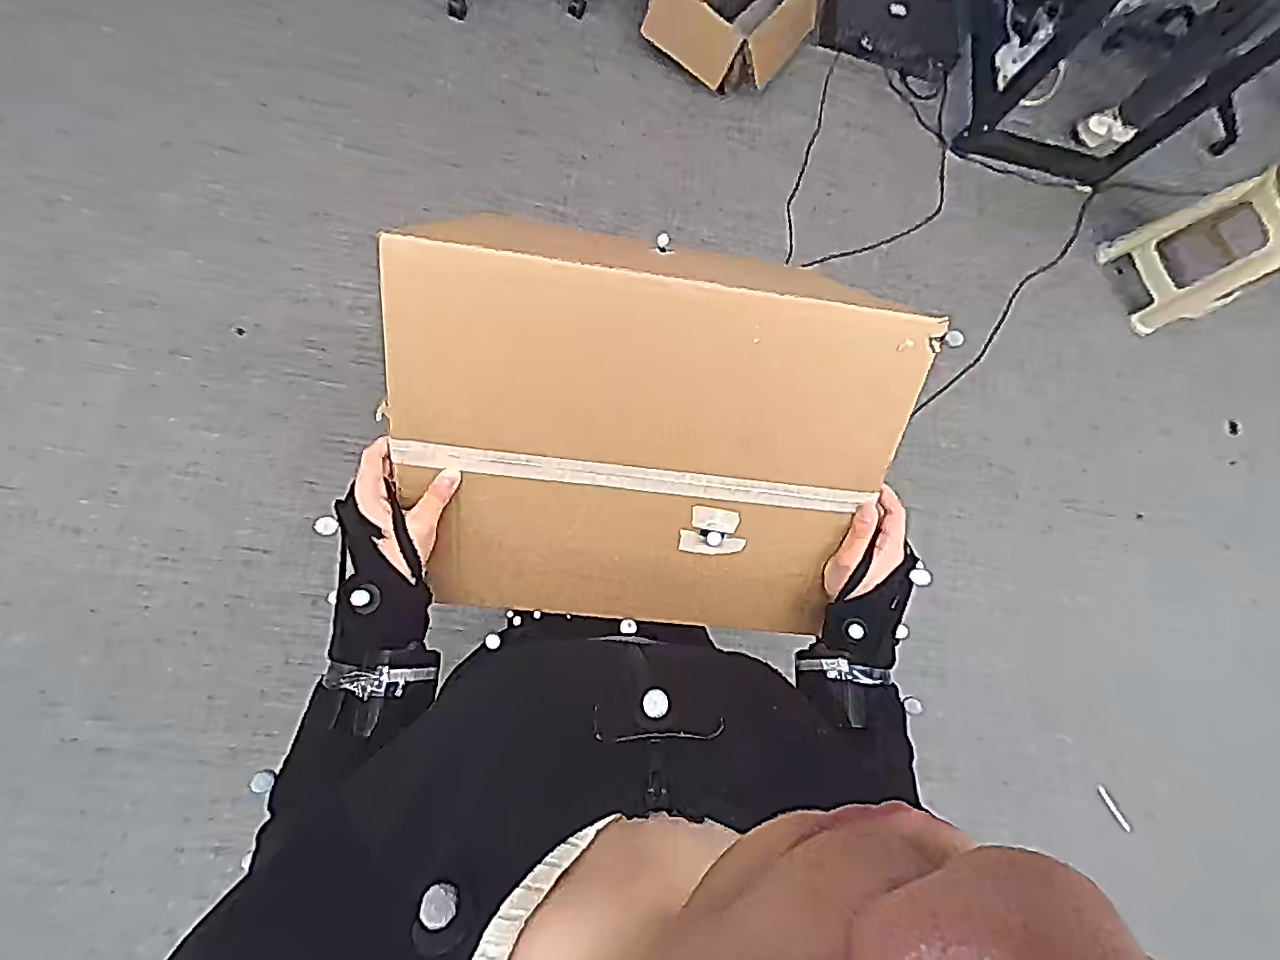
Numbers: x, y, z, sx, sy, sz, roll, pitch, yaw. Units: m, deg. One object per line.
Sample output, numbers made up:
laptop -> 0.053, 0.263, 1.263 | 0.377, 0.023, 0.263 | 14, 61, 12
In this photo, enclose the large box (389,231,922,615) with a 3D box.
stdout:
large box -> -0.006, -0.078, 0.593 | 0.408, 0.320, 0.320 | 5, 119, -7
